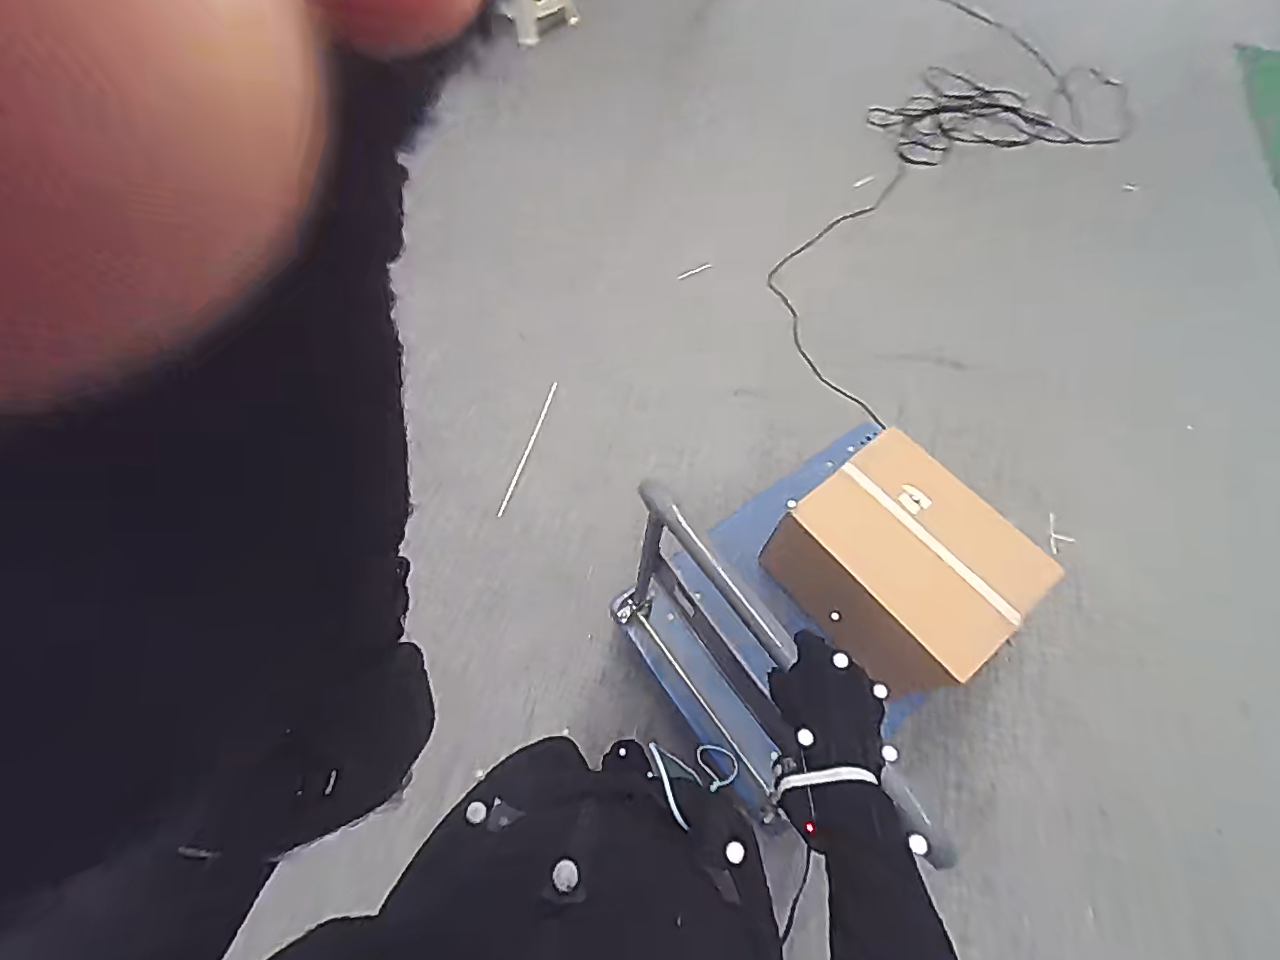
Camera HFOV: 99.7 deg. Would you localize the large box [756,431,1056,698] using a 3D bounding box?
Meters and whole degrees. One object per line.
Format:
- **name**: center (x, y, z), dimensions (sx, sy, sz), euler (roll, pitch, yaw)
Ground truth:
- **large box**: center (0.514, 0.184, 1.133), dimensions (0.320, 0.320, 0.408), euler (-36, 69, -17)
